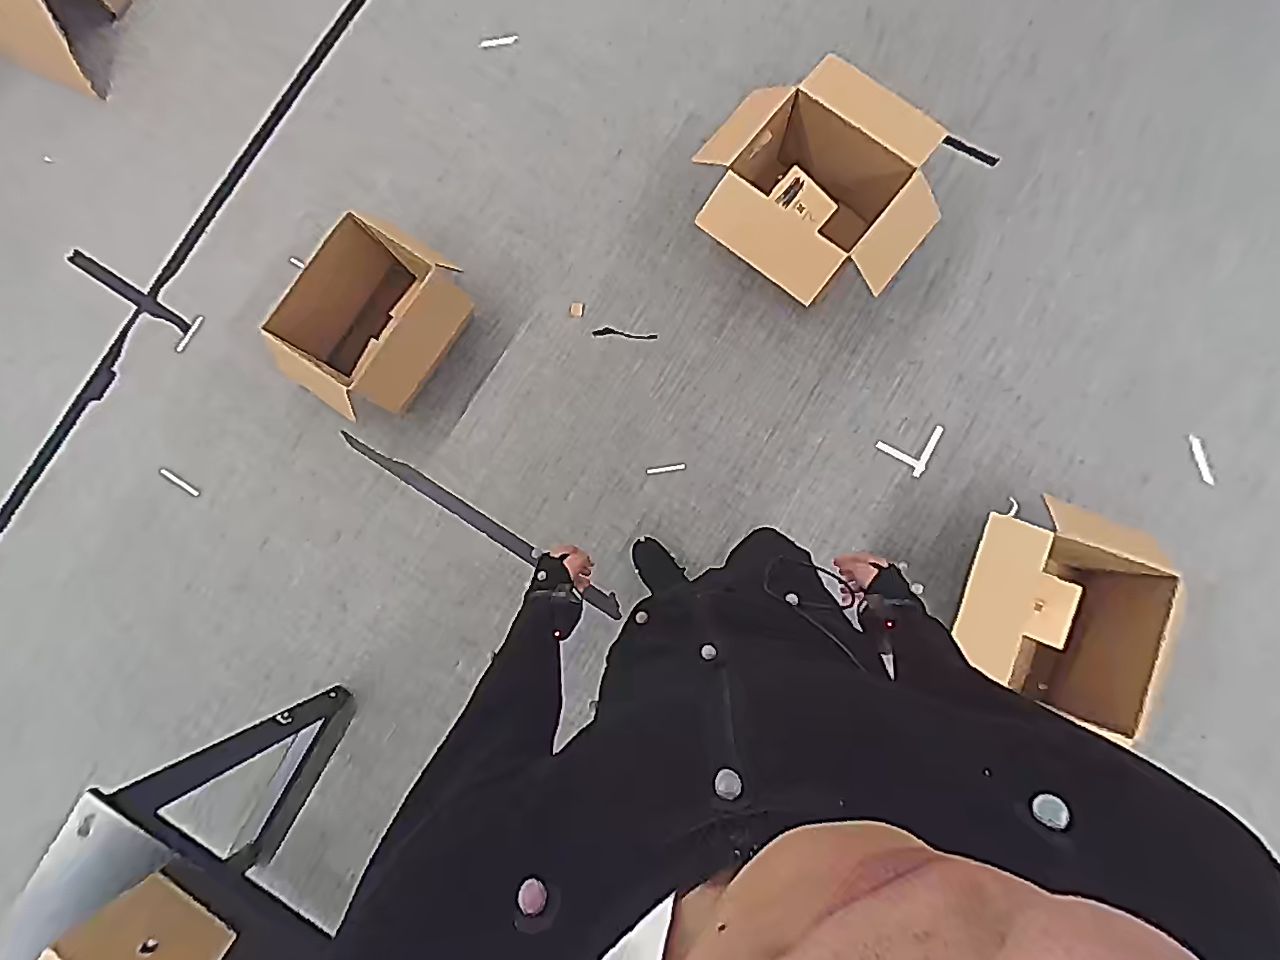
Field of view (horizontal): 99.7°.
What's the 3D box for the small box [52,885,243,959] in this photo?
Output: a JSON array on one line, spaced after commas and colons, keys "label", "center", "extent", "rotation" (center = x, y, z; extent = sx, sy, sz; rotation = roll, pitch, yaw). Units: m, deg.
[{"label": "small box", "center": [-0.763, 0.762, 0.809], "extent": [0.179, 0.176, 0.168], "rotation": [33, 87, 4]}]
